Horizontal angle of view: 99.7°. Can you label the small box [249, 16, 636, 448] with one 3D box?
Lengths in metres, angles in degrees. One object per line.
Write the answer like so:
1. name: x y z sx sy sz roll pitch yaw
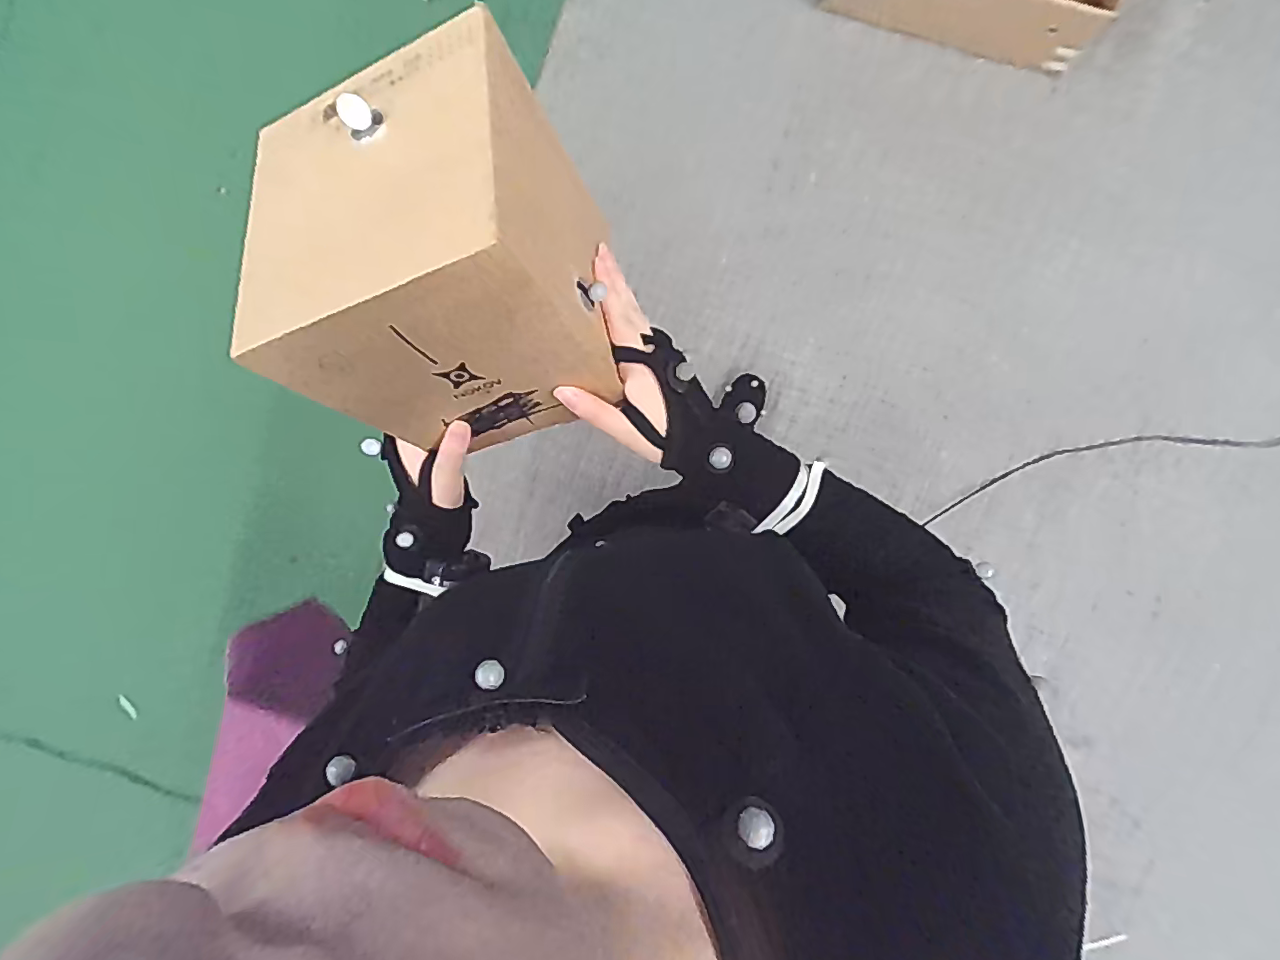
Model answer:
1. small box: -0.112 -0.143 0.365 0.168 0.179 0.176 -14 69 16
